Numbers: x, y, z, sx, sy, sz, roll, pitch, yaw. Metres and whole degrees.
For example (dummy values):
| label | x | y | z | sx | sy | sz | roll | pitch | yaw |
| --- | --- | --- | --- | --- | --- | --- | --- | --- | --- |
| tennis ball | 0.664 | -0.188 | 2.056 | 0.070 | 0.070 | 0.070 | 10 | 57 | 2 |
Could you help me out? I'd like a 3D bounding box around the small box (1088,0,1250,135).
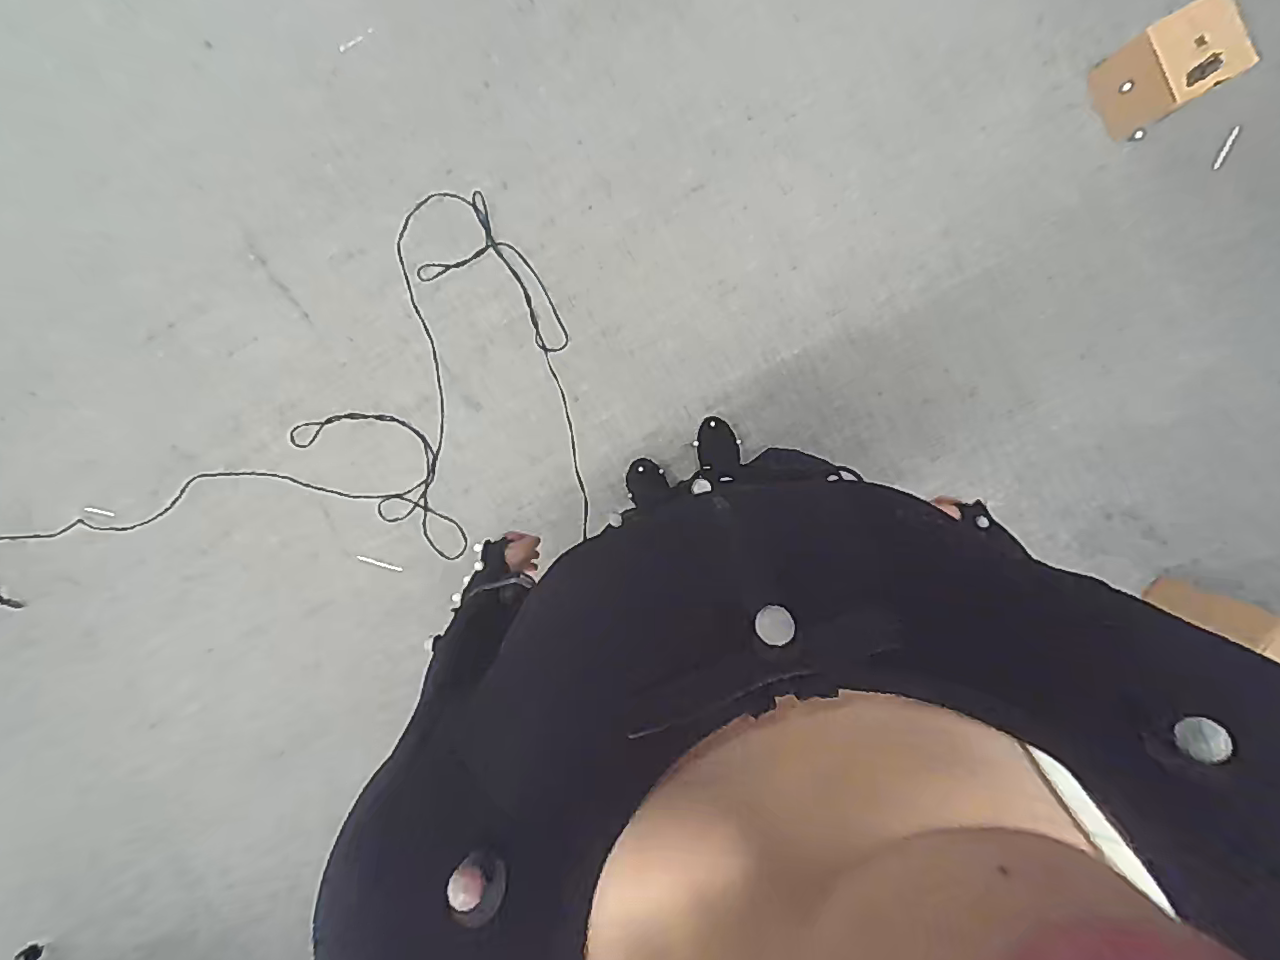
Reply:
| label | x | y | z | sx | sy | sz | roll | pitch | yaw |
| --- | --- | --- | --- | --- | --- | --- | --- | --- | --- |
| small box | 1.161 | -0.909 | 1.202 | 0.168 | 0.176 | 0.179 | -27 | 95 | 8 |
